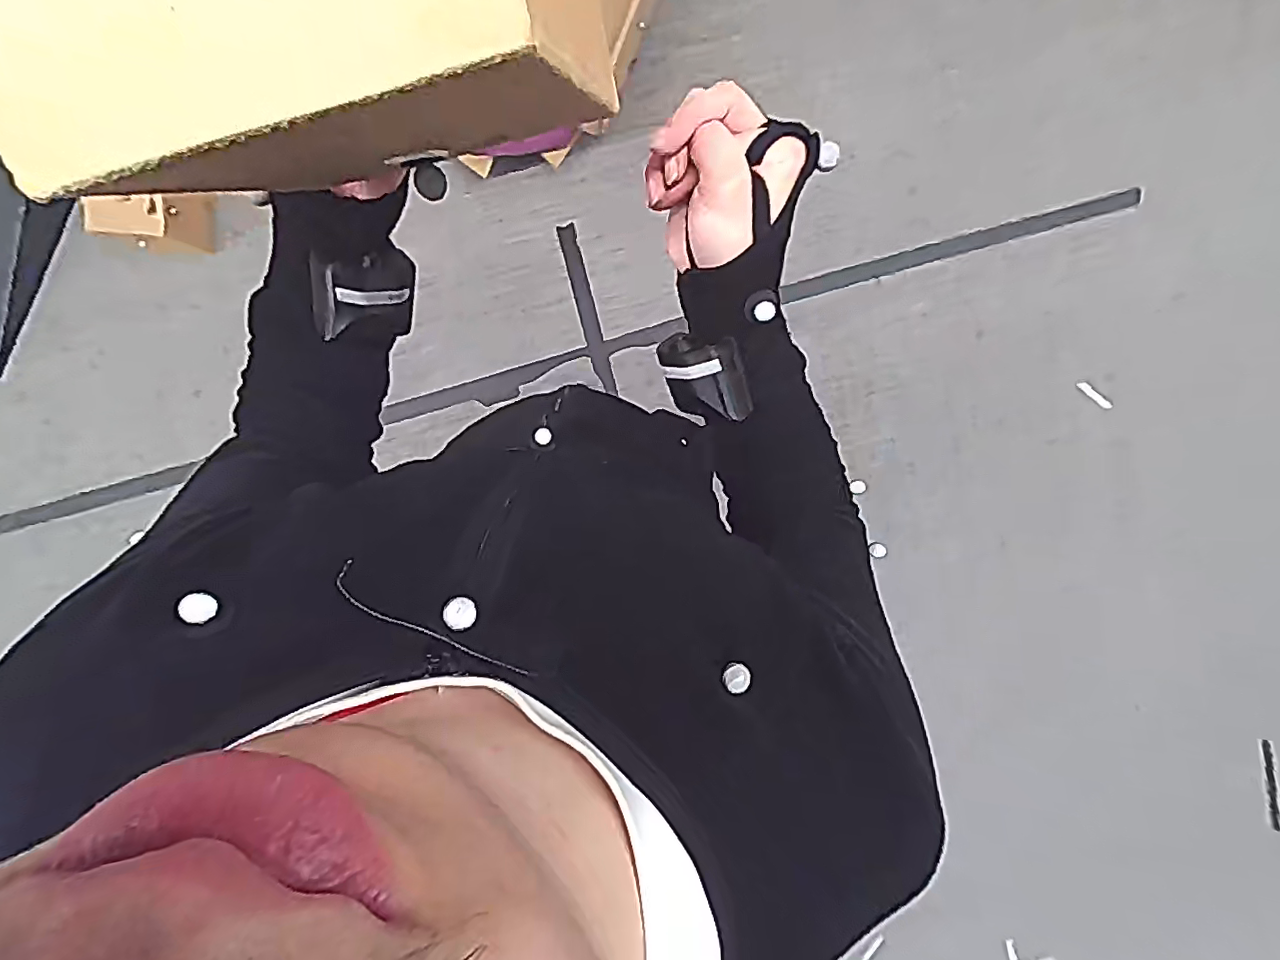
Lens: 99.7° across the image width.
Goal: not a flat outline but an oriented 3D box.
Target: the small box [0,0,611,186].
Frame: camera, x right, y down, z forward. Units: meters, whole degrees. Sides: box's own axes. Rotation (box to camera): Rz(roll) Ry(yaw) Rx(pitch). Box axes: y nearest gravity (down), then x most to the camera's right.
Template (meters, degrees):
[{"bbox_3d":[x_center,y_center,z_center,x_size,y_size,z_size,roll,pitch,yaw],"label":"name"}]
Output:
[{"bbox_3d":[-0.114,-0.217,0.194,0.168,0.176,0.179,-7,118,10],"label":"small box"}]
